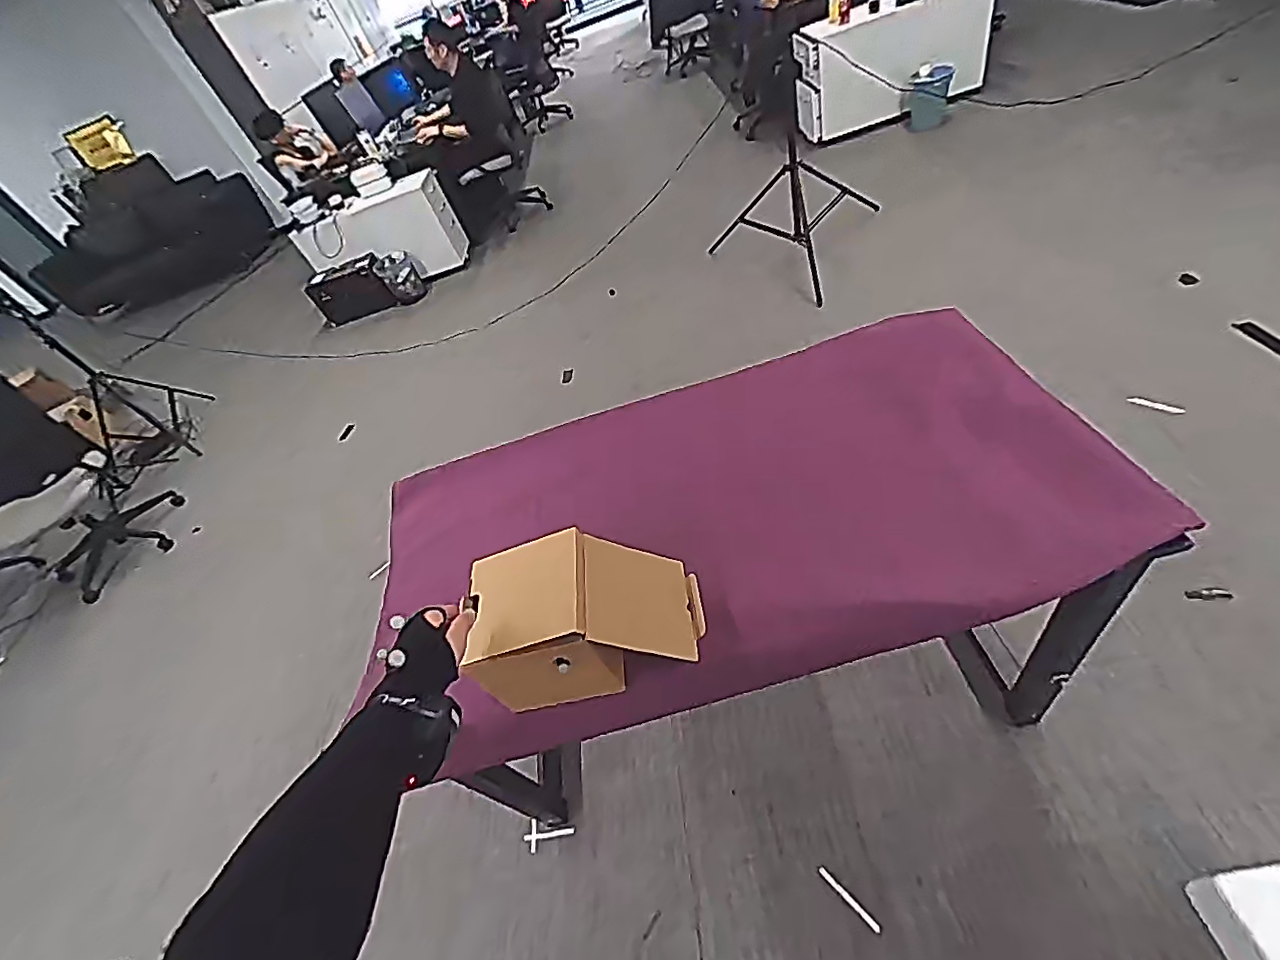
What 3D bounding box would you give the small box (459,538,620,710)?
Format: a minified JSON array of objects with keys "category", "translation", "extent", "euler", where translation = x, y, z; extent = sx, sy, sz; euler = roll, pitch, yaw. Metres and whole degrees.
[{"category":"small box","translation":[-0.132,0.213,0.786],"extent":[0.179,0.176,0.168],"euler":[-15,45,9]}]
